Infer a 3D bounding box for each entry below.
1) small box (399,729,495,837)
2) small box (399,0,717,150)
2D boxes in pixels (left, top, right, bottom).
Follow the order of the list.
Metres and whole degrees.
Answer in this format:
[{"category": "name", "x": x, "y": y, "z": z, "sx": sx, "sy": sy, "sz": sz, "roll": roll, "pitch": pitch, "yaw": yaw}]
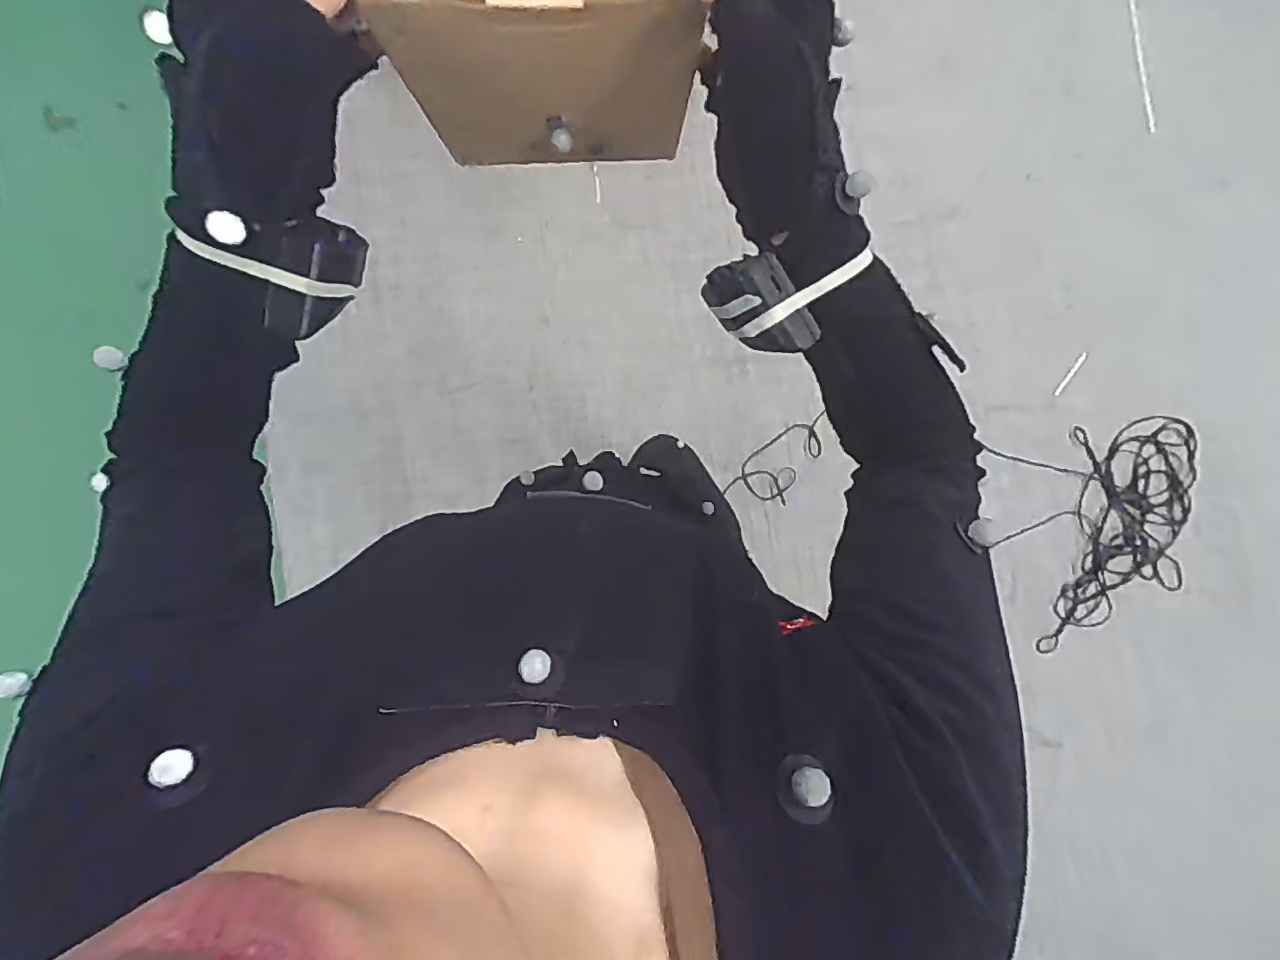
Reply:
[{"category": "small box", "x": -0.487, "y": 0.763, "z": 1.384, "sx": 0.168, "sy": 0.176, "sz": 0.179, "roll": -12, "pitch": 90, "yaw": 0}, {"category": "small box", "x": -0.049, "y": -0.324, "z": 0.311, "sx": 0.168, "sy": 0.176, "sz": 0.179, "roll": -3, "pitch": 96, "yaw": -2}]
